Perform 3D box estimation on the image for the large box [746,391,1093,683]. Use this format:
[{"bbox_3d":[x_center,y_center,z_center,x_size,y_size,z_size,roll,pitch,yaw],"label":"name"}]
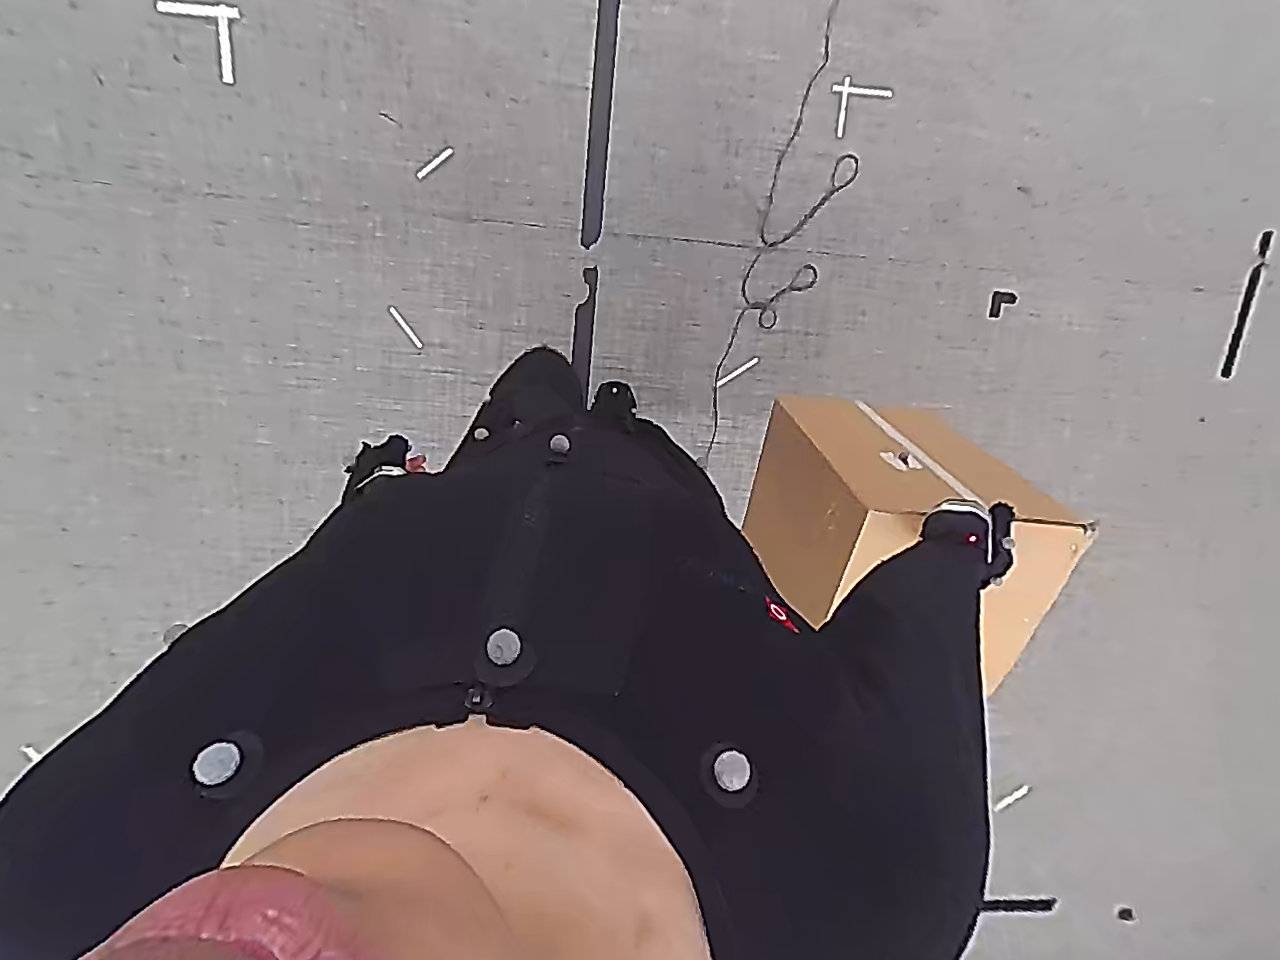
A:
[{"bbox_3d":[0.406,0.078,0.925,0.320,0.408,0.320,5,120,-7],"label":"large box"}]
